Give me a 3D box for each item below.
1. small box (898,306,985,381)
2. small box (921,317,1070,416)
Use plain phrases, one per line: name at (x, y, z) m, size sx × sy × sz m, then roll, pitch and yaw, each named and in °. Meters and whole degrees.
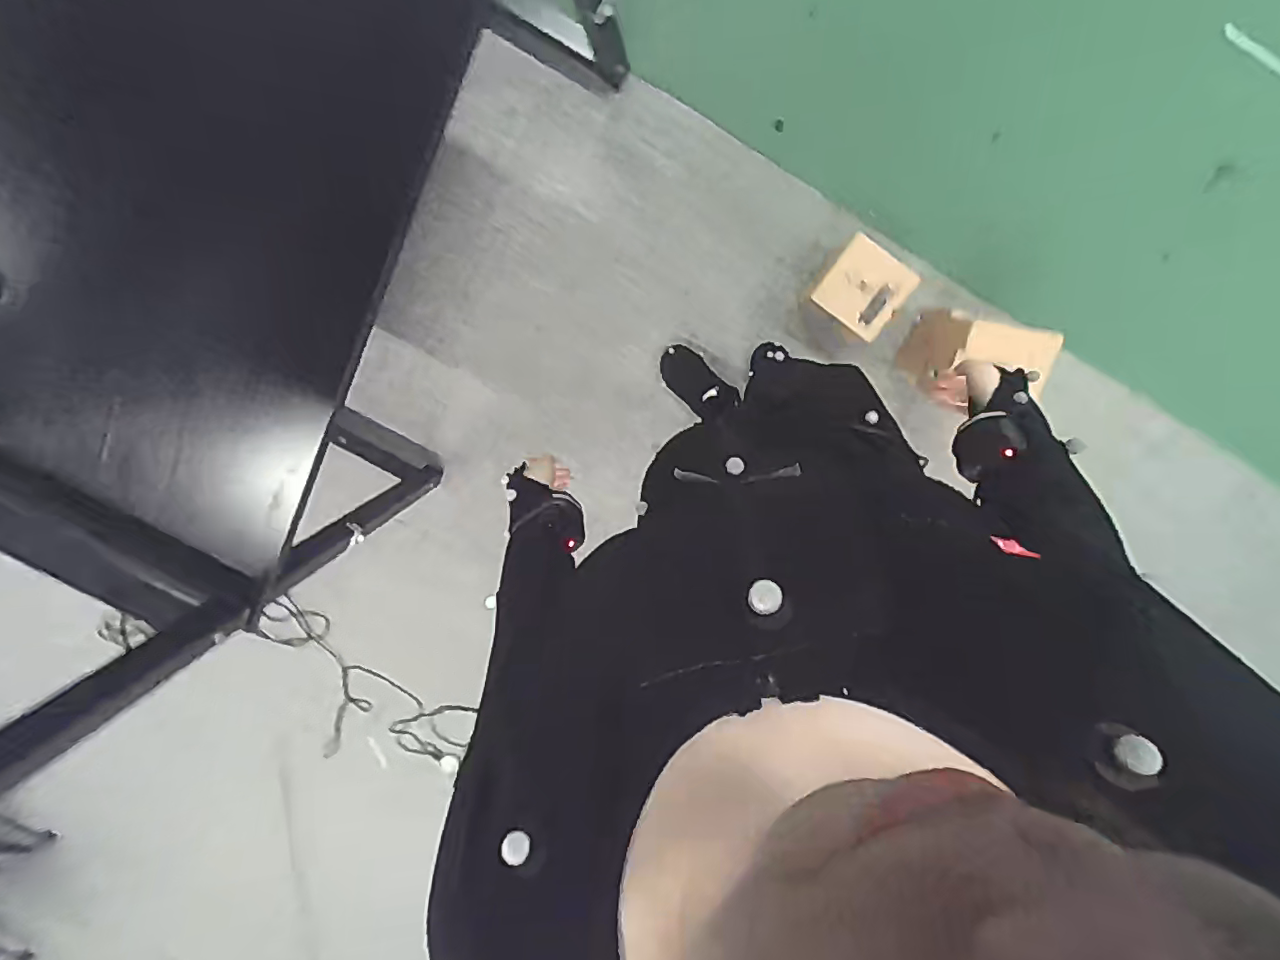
small box at (0.745, -0.295, 1.271) m, size 0.179 × 0.176 × 0.168 m, roll 22°, pitch 109°, yaw -3°
small box at (0.718, -0.242, 1.120) m, size 0.179 × 0.176 × 0.168 m, roll 10°, pitch 110°, yaw 1°
